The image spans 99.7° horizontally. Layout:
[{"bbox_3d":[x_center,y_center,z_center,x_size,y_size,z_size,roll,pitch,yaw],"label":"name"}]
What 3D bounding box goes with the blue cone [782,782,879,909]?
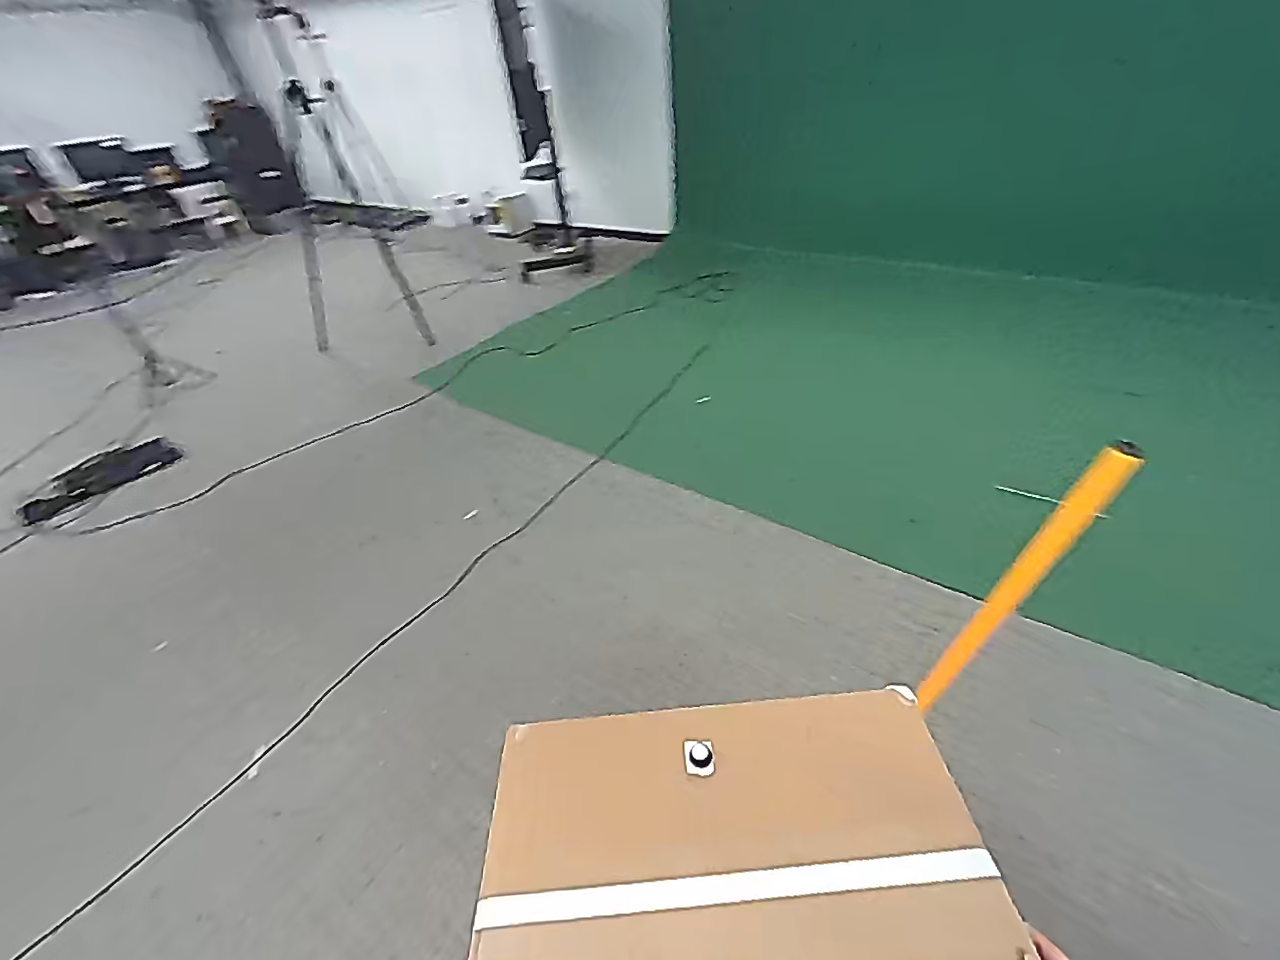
[{"bbox_3d":[0.439,0.735,1.162,0.193,0.380,0.192,20,45,27],"label":"blue cone"}]
